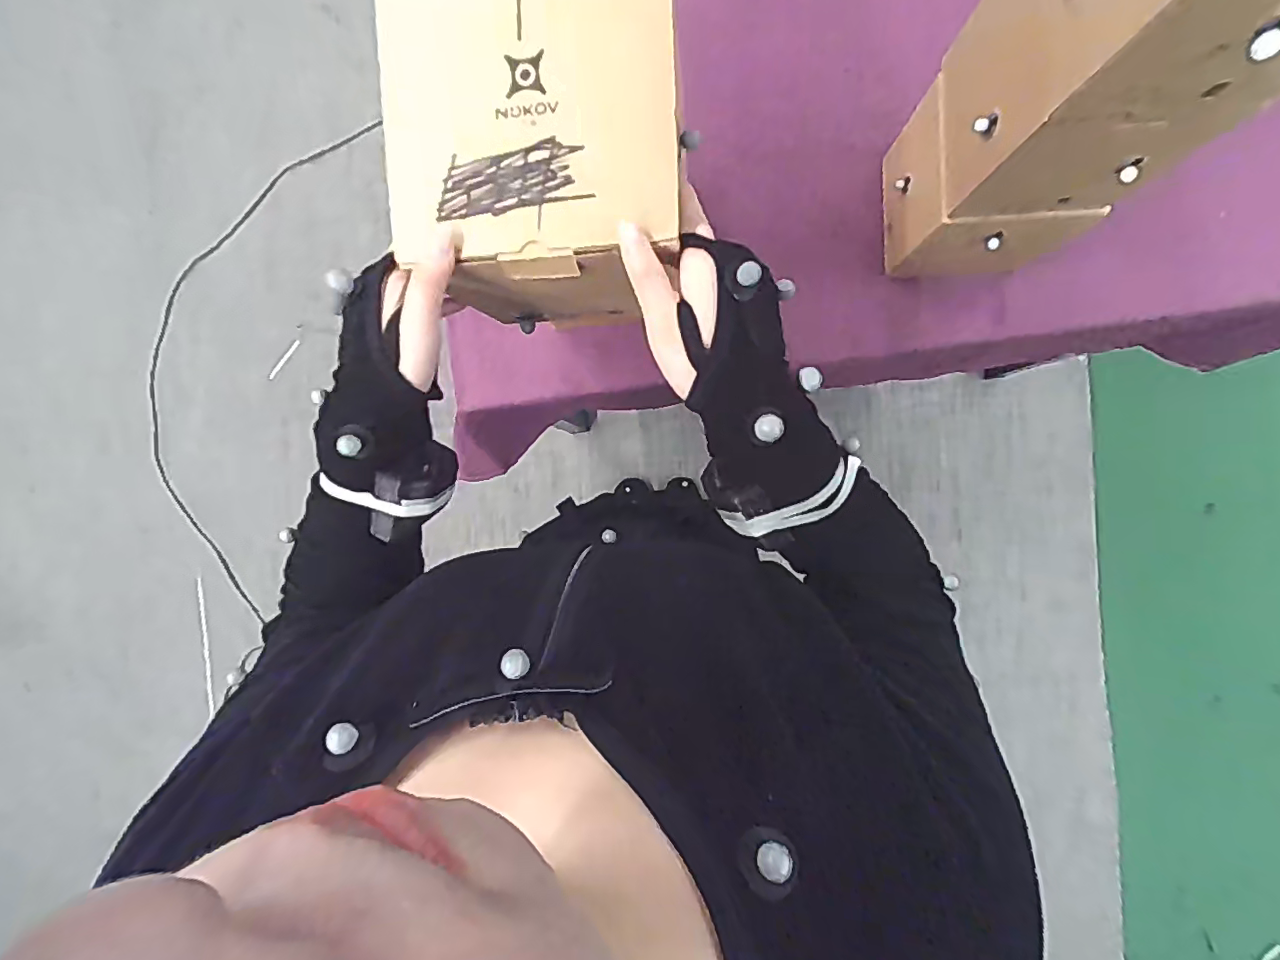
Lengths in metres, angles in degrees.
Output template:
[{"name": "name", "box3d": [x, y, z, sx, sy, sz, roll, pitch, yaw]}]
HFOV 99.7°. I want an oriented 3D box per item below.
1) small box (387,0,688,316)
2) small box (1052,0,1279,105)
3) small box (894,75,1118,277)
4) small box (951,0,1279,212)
[{"name": "small box", "box3d": [-0.052, -0.221, 0.384, 0.168, 0.176, 0.179, -1, 94, 8]}, {"name": "small box", "box3d": [0.391, -0.364, 0.330, 0.168, 0.176, 0.179, -2, 91, 4]}, {"name": "small box", "box3d": [0.424, -0.357, 0.656, 0.179, 0.176, 0.168, 0, 91, 5]}, {"name": "small box", "box3d": [0.408, -0.365, 0.493, 0.168, 0.176, 0.179, -1, 90, 5]}]
